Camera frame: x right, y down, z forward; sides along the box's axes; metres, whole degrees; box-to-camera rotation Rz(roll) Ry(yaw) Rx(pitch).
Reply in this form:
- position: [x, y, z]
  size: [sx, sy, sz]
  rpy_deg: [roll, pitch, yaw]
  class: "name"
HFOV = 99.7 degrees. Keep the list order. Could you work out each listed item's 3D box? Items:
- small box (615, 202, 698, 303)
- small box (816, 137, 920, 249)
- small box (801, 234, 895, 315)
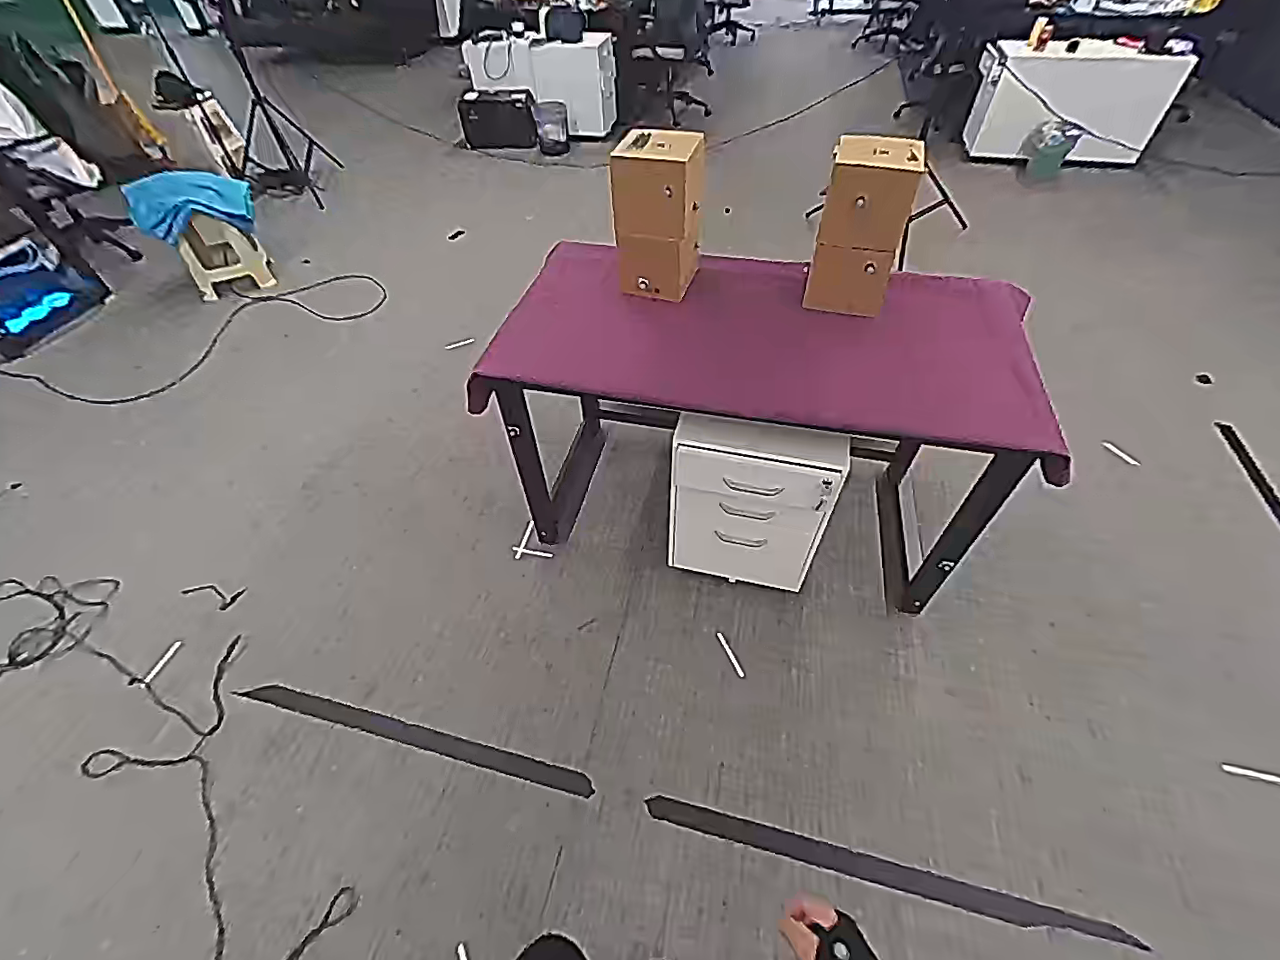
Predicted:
- position: [0.045, -0.580, 1.381]
  size: [0.168, 0.176, 0.179]
  rpy_deg: [13, 53, 14]
  class: "small box"
- position: [0.495, -0.629, 1.187]
  size: [0.179, 0.176, 0.168]
  rpy_deg: [12, 52, 14]
  class: "small box"
- position: [0.501, -0.522, 1.311]
  size: [0.179, 0.176, 0.168]
  rpy_deg: [12, 51, 13]
  class: "small box"
